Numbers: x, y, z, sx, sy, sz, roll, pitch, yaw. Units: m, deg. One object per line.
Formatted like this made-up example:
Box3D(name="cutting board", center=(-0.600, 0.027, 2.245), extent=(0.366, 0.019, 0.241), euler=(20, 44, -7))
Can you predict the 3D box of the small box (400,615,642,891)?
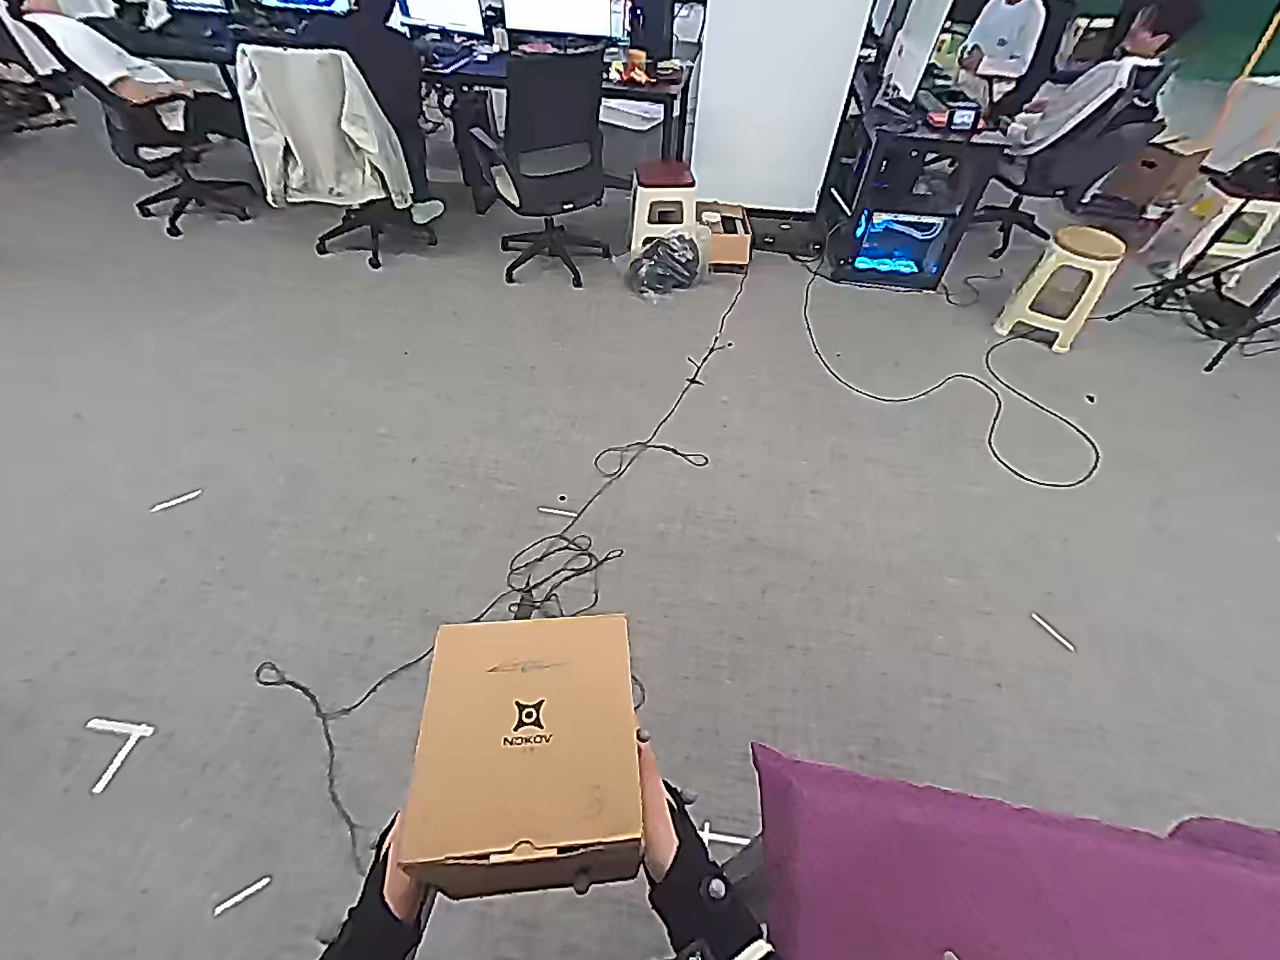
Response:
Box3D(name="small box", center=(-0.089, 0.241, 0.475), extent=(0.168, 0.176, 0.179), euler=(-2, 46, -6))
